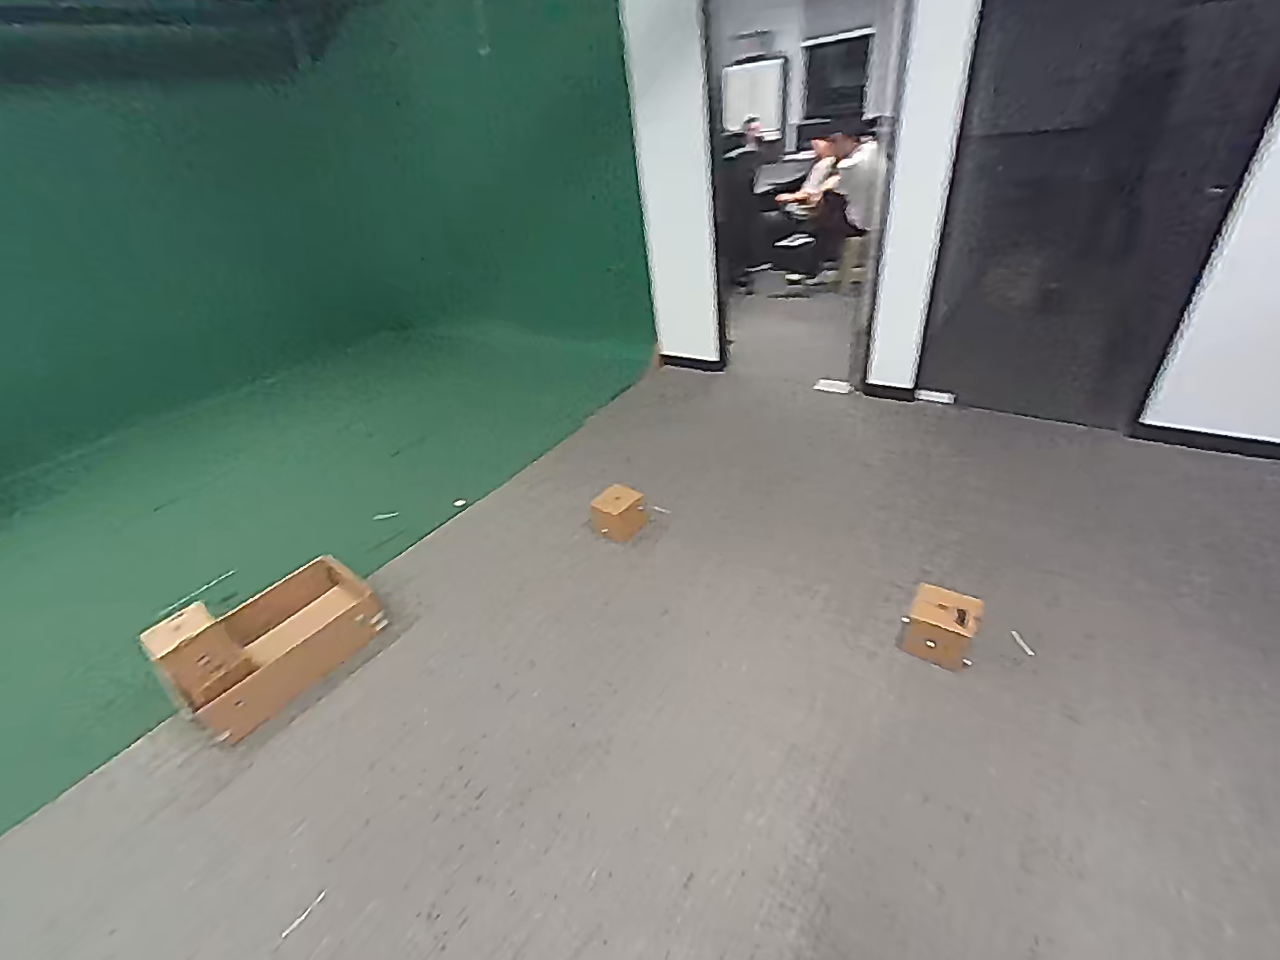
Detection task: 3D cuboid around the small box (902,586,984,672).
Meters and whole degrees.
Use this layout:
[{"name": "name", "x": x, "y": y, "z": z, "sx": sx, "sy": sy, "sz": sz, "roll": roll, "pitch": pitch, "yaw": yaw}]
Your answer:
[{"name": "small box", "x": 0.946, "y": 0.472, "z": 1.698, "sx": 0.179, "sy": 0.176, "sz": 0.168, "roll": 18, "pitch": 42, "yaw": 34}]

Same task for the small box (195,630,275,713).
[{"name": "small box", "x": -1.385, "y": 0.648, "z": 1.825, "sx": 0.179, "sy": 0.176, "sz": 0.168, "roll": 18, "pitch": 42, "yaw": 30}]

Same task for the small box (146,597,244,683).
[{"name": "small box", "x": -1.419, "y": 0.517, "z": 1.732, "sx": 0.179, "sy": 0.176, "sz": 0.168, "roll": 22, "pitch": 45, "yaw": 34}]

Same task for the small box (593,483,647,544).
[{"name": "small box", "x": -0.081, "y": 0.147, "z": 2.372, "sx": 0.168, "sy": 0.176, "sz": 0.179, "roll": 22, "pitch": 45, "yaw": 37}]
